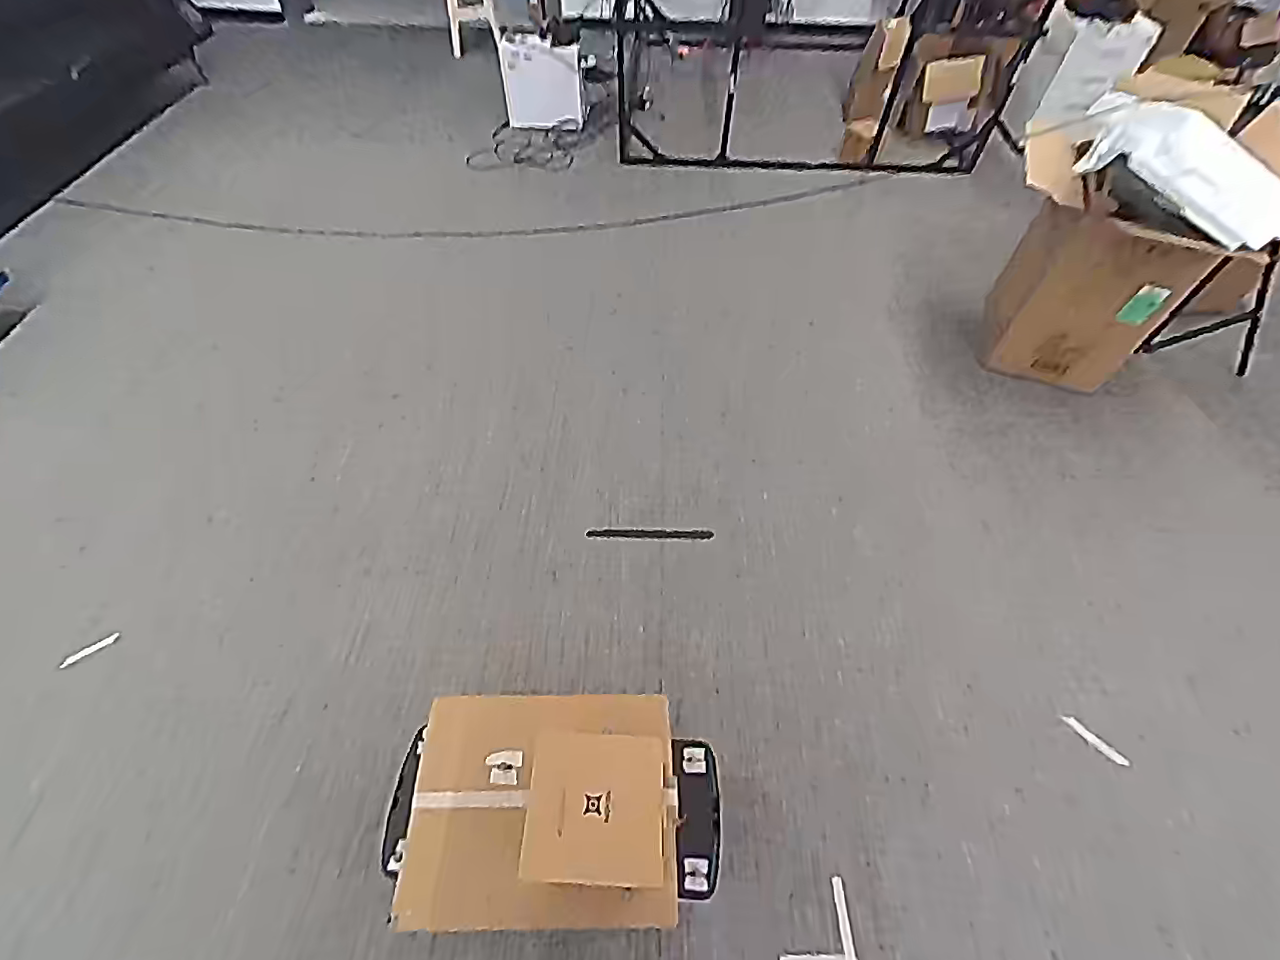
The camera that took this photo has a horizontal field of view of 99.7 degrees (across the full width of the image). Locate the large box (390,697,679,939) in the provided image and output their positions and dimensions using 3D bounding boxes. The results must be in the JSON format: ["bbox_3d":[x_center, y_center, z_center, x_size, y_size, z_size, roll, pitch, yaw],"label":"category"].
[{"bbox_3d":[-0.146,0.584,0.948,0.408,0.320,0.320,0,53,0],"label":"large box"}]

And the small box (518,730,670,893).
[{"bbox_3d":[-0.052,0.453,0.741,0.179,0.176,0.168,3,54,2],"label":"small box"}]
